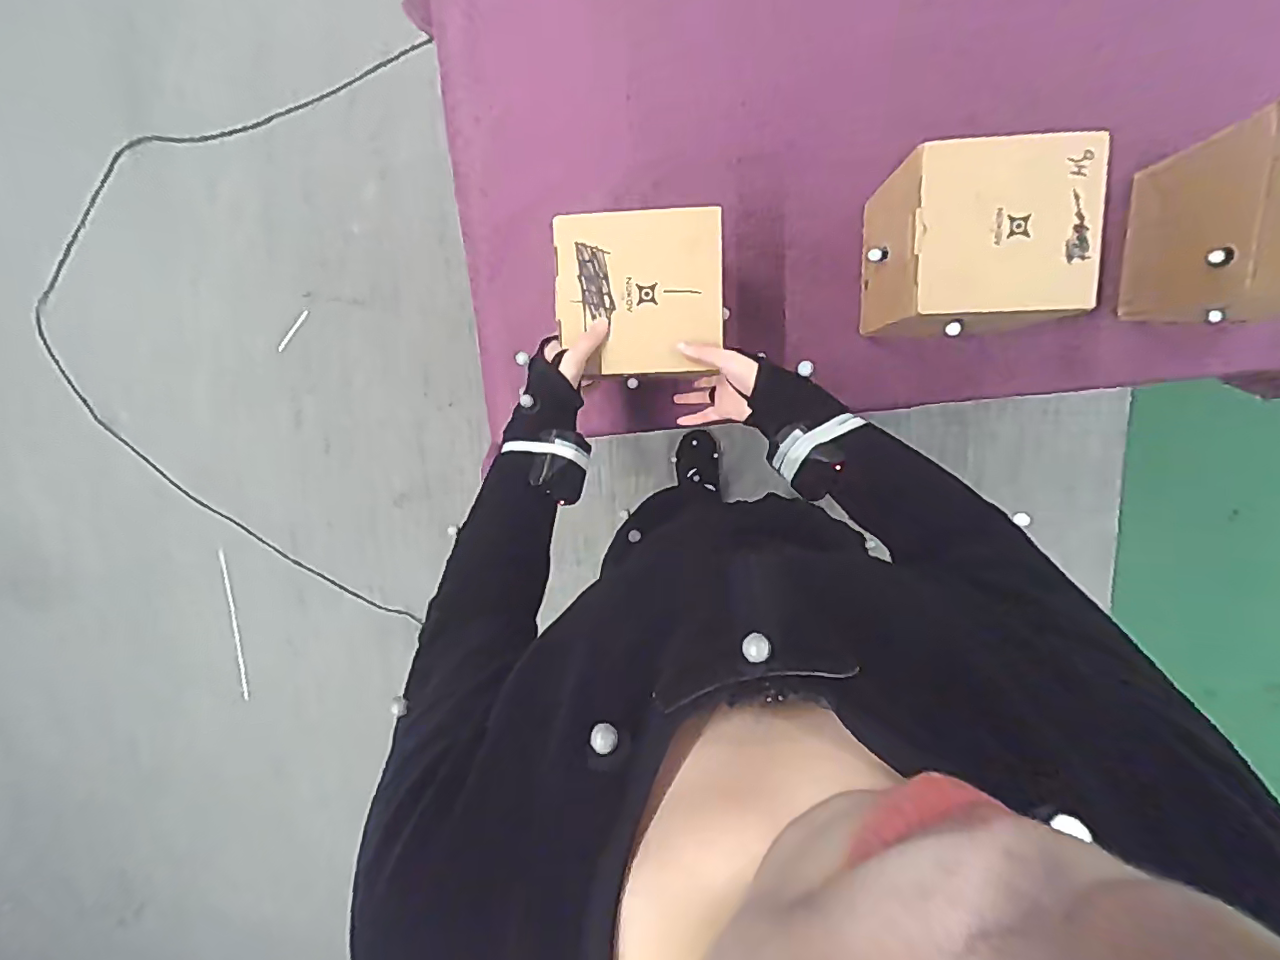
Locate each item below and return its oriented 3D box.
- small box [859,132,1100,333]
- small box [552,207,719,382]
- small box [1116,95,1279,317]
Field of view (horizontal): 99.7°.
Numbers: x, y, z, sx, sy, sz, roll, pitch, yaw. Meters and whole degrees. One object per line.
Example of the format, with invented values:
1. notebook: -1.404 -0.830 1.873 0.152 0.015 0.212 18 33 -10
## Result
1. small box: 0.361 -0.262 0.612 0.179 0.176 0.168 0 97 4
2. small box: 0.001 -0.206 0.646 0.179 0.176 0.168 -2 97 3
3. small box: 0.671 -0.282 0.588 0.168 0.176 0.179 0 98 5
